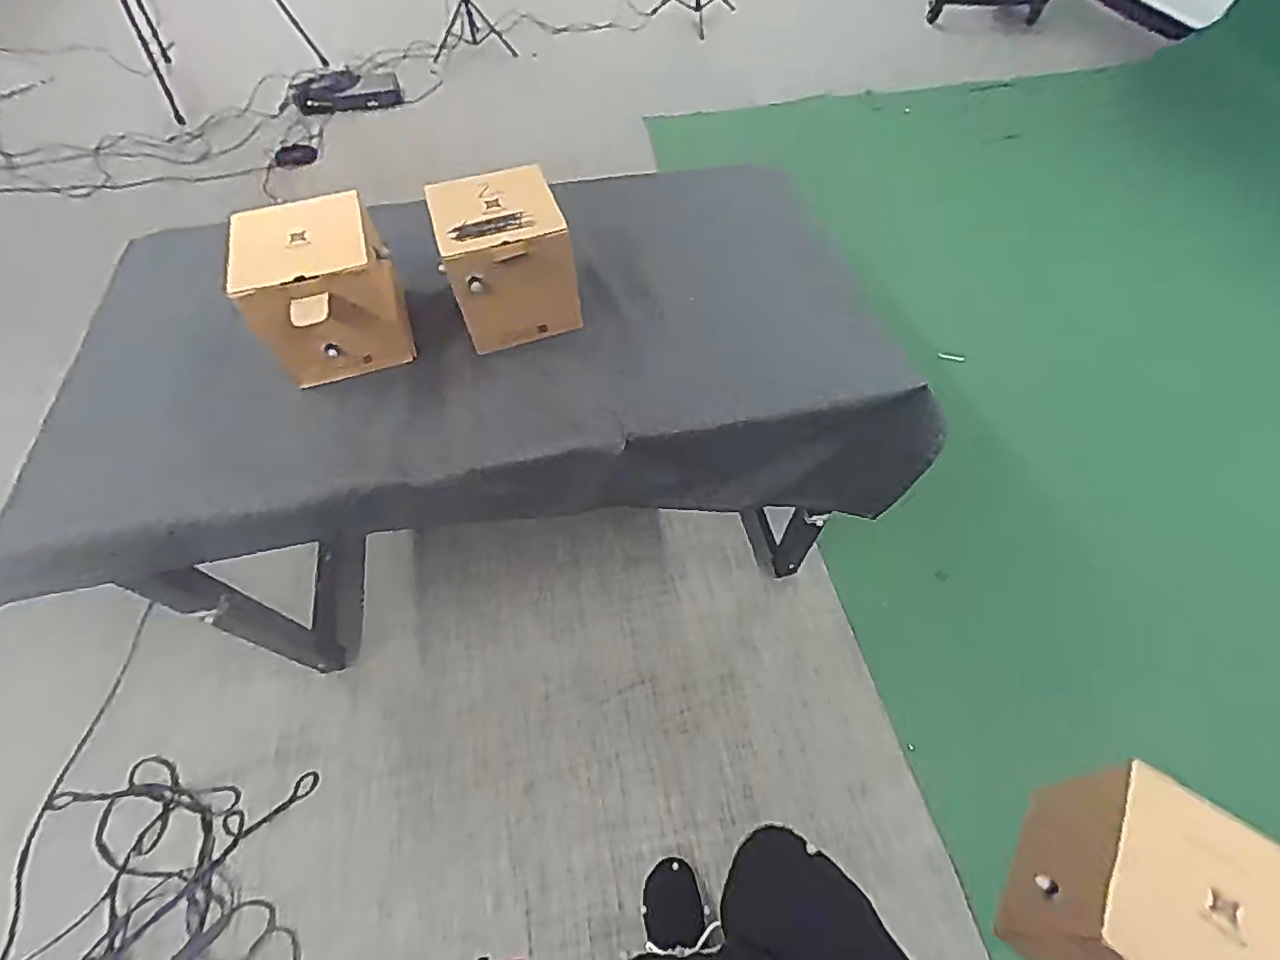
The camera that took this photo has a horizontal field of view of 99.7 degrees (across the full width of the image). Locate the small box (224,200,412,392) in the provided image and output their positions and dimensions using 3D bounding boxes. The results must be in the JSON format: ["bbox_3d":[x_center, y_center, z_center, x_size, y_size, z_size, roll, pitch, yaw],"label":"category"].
[{"bbox_3d":[-0.439,-0.254,0.758,0.168,0.176,0.179,-18,60,-10],"label":"small box"}]
